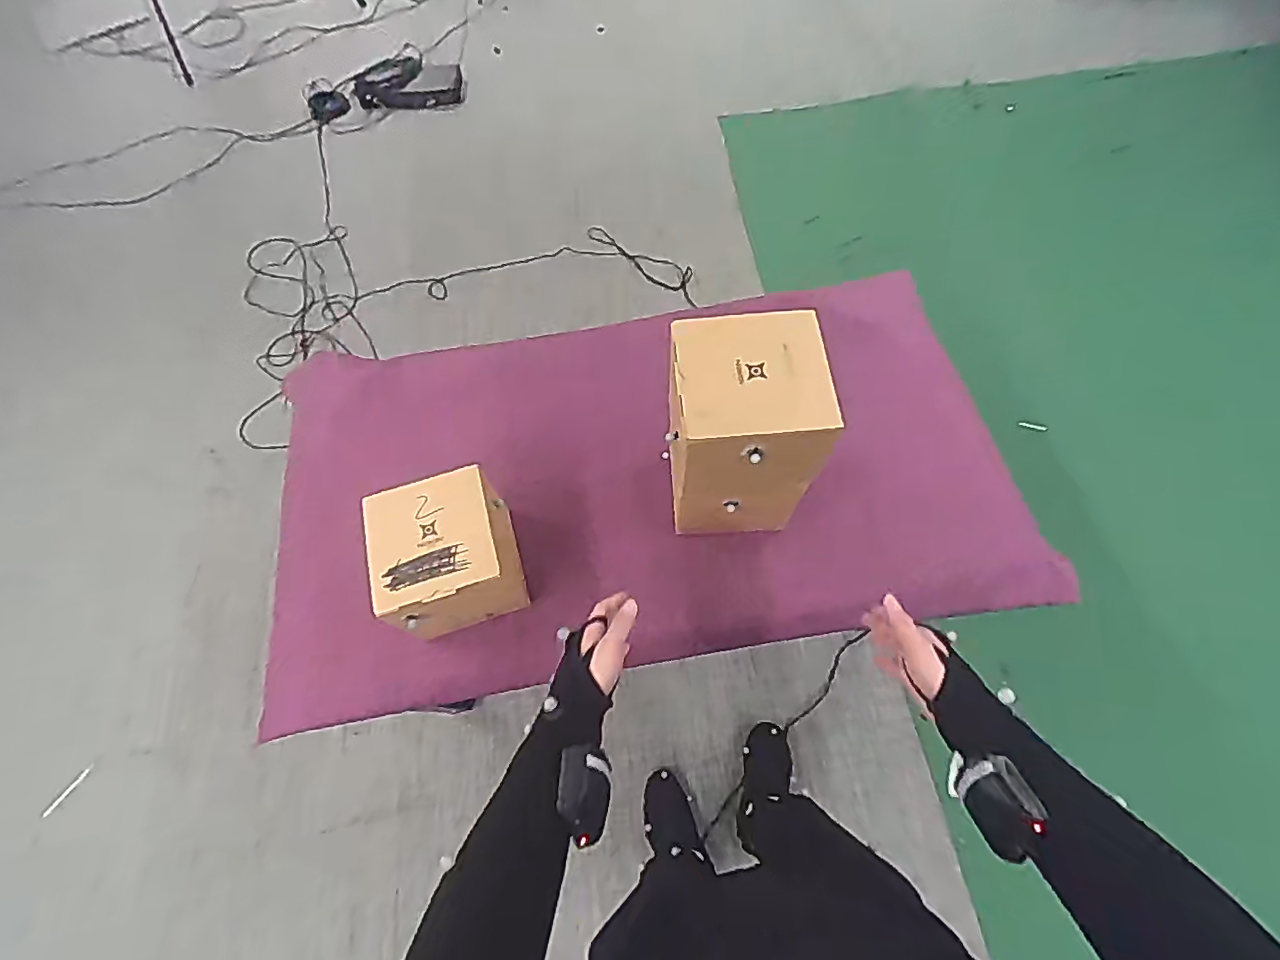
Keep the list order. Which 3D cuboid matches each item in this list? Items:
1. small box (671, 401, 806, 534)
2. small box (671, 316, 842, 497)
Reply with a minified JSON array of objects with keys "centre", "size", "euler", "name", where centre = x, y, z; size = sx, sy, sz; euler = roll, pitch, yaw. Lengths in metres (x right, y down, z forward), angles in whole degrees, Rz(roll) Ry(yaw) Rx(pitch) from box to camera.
[{"centre":[0.140,-0.019,0.836],"size":[0.179,0.176,0.168],"euler":[-3,66,1],"name":"small box"},{"centre":[0.132,-0.084,0.687],"size":[0.179,0.176,0.168],"euler":[-4,66,1],"name":"small box"}]
